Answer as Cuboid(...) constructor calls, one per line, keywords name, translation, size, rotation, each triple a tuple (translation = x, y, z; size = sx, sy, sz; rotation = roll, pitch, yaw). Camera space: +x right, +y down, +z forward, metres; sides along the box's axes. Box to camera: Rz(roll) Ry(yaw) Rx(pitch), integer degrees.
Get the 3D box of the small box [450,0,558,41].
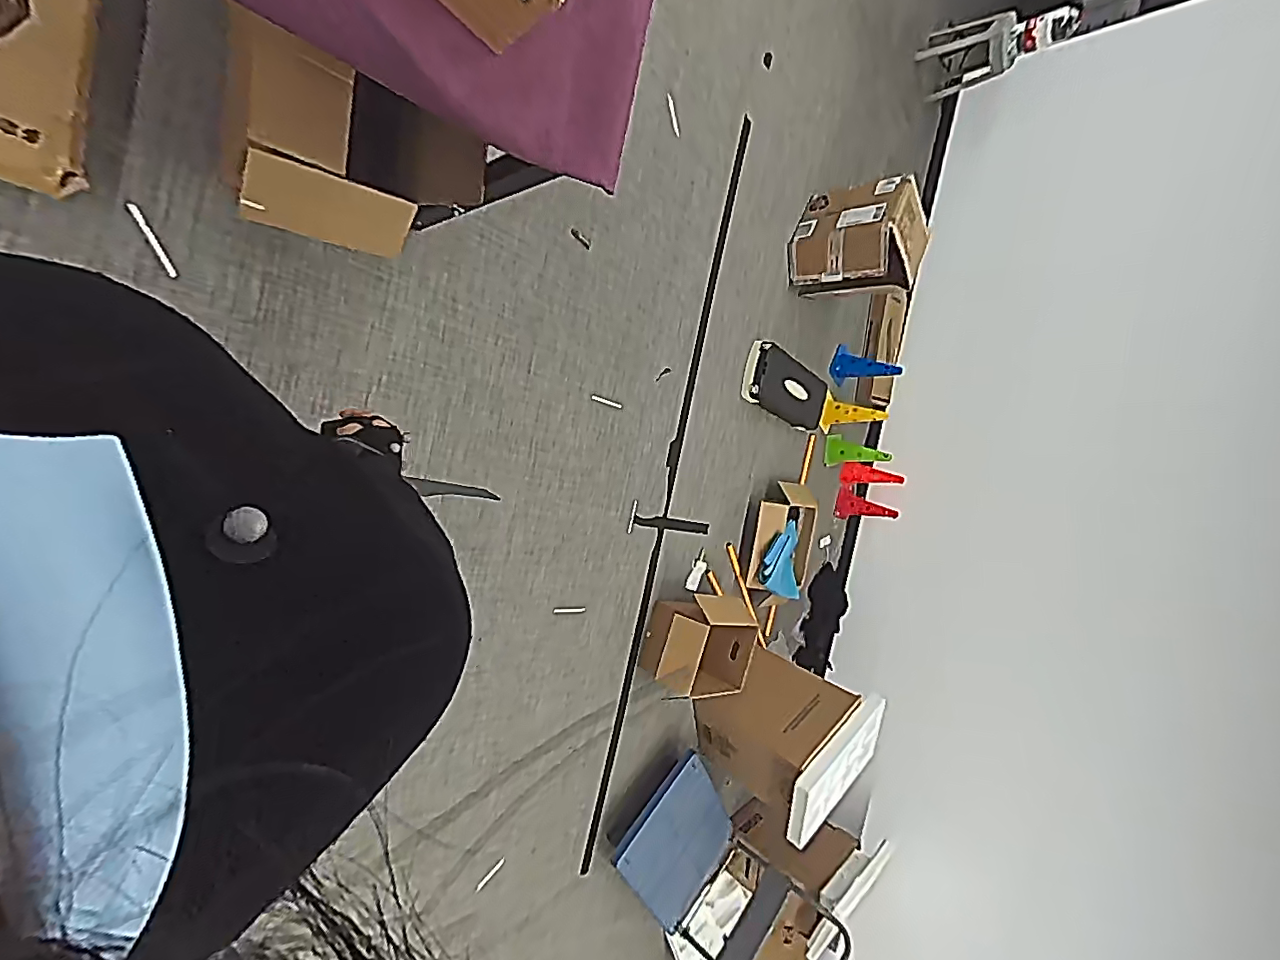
Cuboid(name="small box", translation=(-0.179, -0.700, 0.663), size=(0.179, 0.176, 0.168), rotation=(19, 87, -47))
